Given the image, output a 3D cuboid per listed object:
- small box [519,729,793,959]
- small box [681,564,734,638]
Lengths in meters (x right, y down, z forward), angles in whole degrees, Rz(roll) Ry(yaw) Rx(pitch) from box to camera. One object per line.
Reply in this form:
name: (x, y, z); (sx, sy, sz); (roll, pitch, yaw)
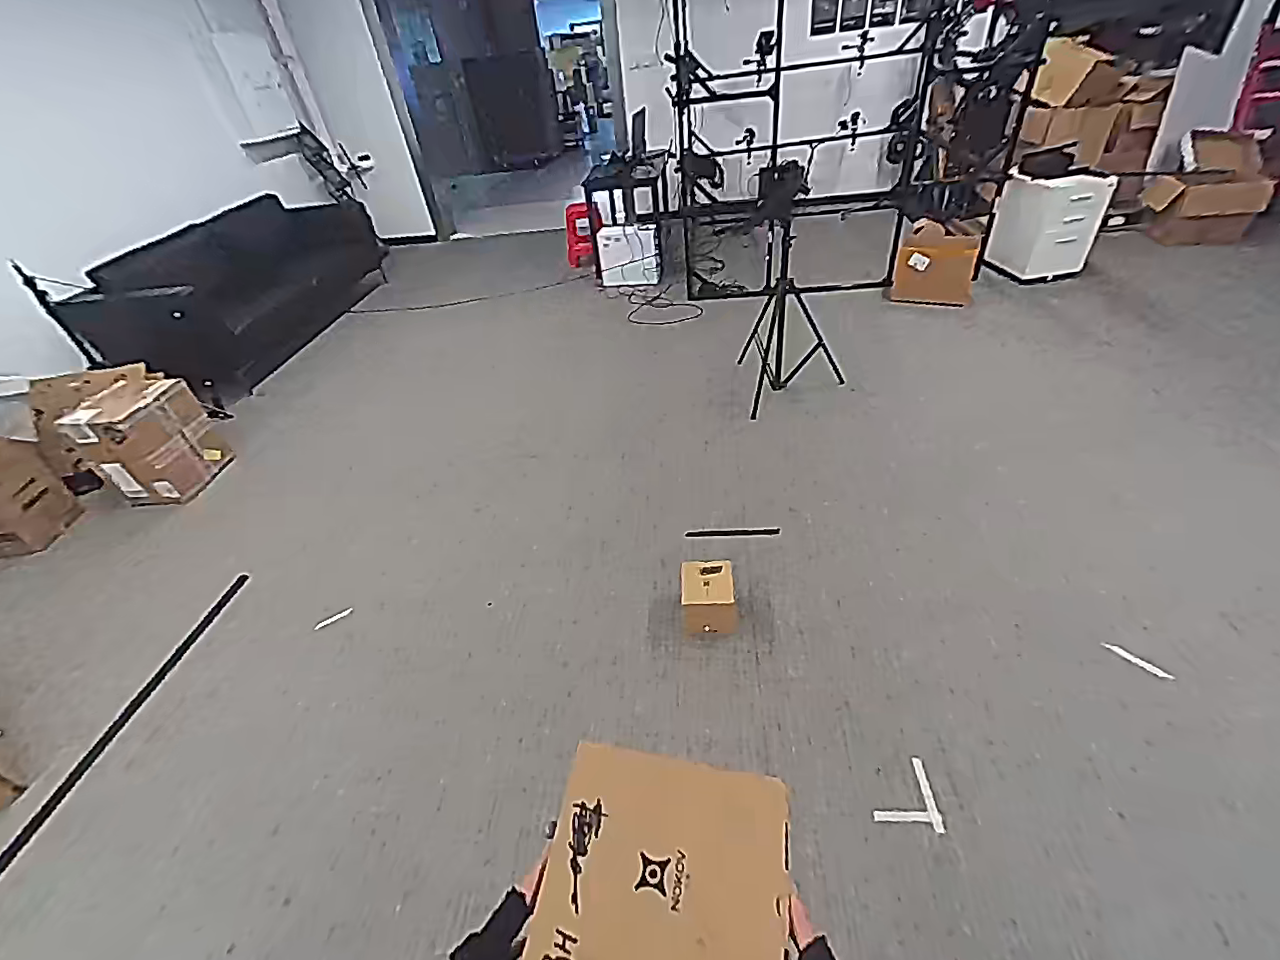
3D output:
small box: (0.020, 0.336, 0.443); (0.179, 0.176, 0.168); (8, 44, 9)
small box: (0.223, 0.399, 1.785); (0.168, 0.176, 0.179); (-3, 40, 7)
